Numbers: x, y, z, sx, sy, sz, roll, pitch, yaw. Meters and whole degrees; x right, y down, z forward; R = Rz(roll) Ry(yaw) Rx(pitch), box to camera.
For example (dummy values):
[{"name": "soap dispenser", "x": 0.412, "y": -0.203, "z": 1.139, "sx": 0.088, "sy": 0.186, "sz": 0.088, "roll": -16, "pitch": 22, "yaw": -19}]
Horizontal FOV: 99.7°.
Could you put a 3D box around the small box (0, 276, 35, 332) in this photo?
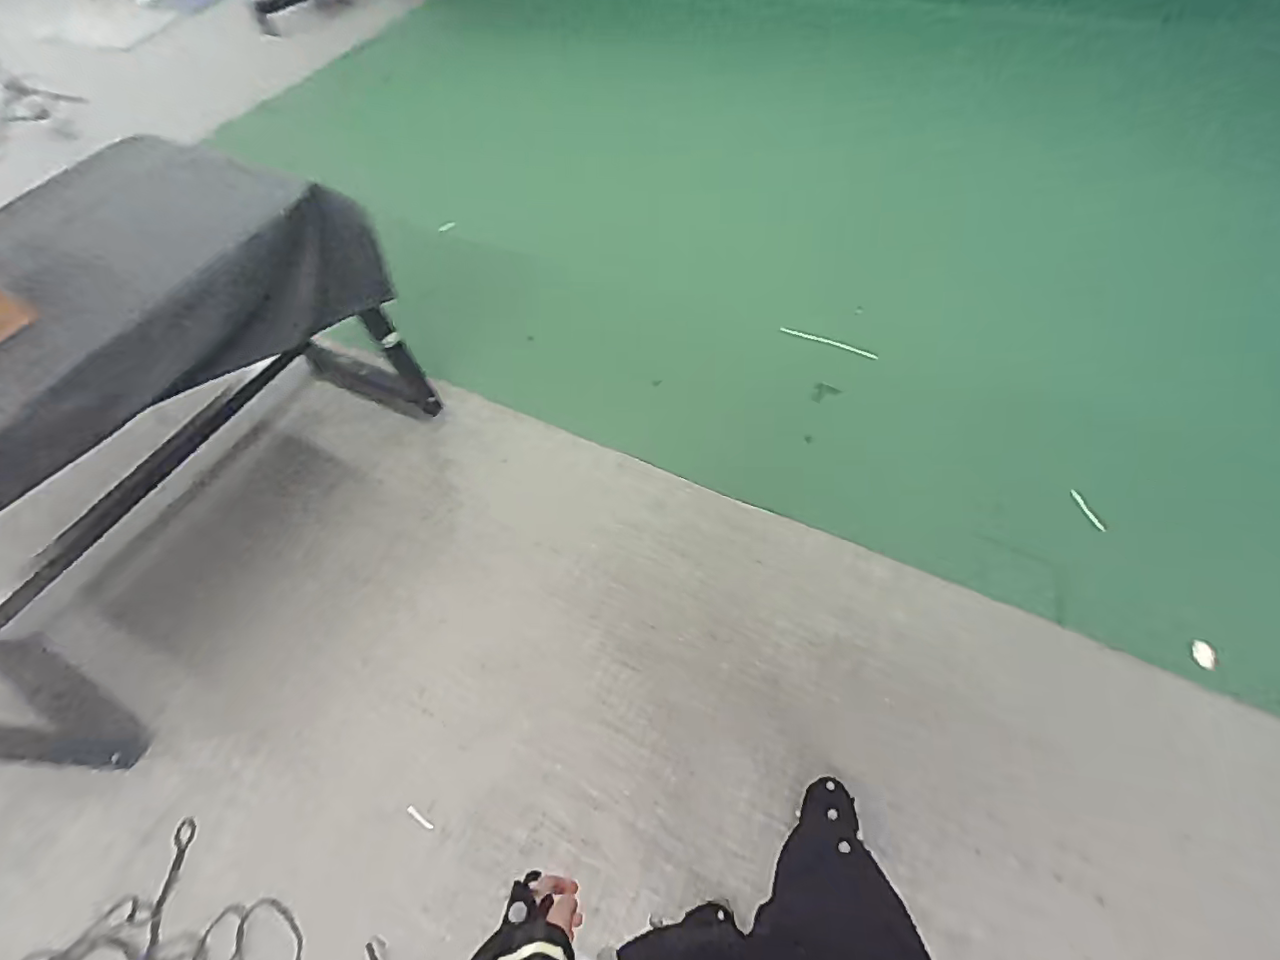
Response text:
[{"name": "small box", "x": -1.184, "y": -0.325, "z": 0.886, "sx": 0.179, "sy": 0.176, "sz": 0.168, "roll": 29, "pitch": 64, "yaw": 21}]
